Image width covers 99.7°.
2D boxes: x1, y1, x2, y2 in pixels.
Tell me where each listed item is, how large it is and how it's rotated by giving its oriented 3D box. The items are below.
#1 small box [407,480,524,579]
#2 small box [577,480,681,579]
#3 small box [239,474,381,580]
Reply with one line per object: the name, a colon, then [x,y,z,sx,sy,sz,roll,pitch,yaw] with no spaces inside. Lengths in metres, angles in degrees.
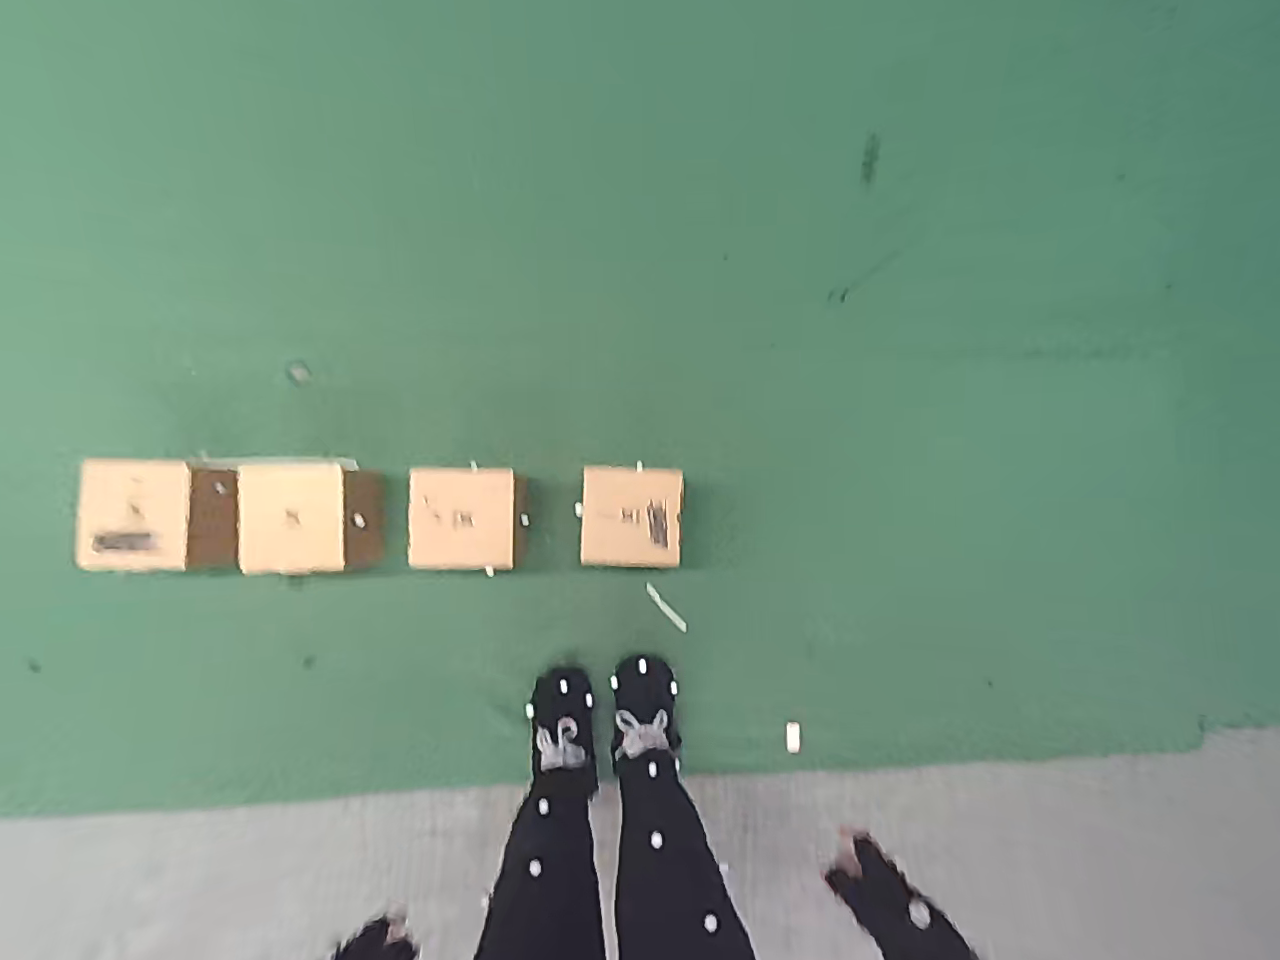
small box: [-0.312,0.088,1.001,0.179,0.176,0.168,2,86,-5]
small box: [-0.024,0.091,1.026,0.179,0.176,0.168,3,86,-4]
small box: [-0.587,0.082,0.981,0.168,0.176,0.179,-1,88,-5]
